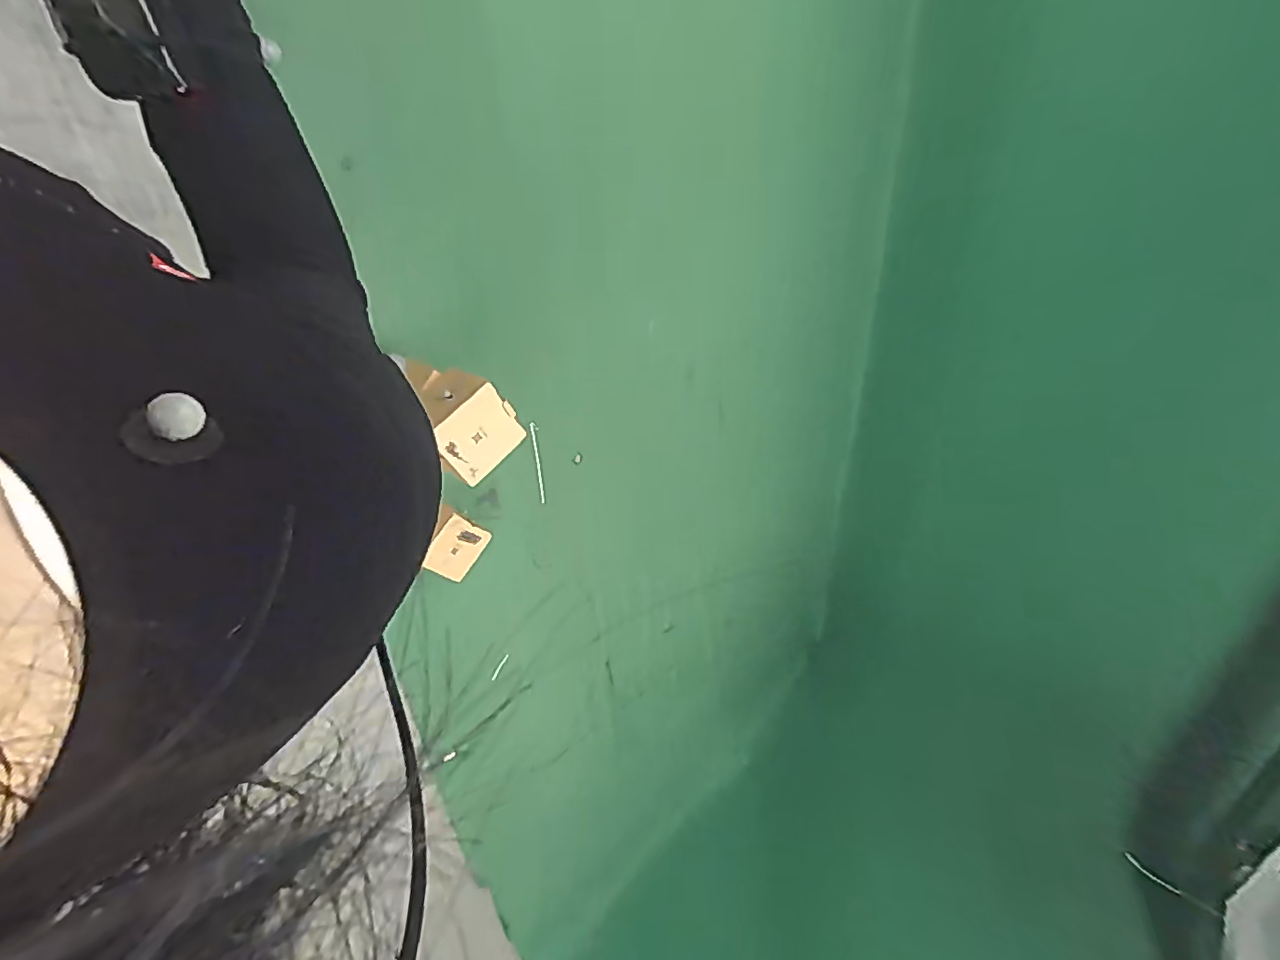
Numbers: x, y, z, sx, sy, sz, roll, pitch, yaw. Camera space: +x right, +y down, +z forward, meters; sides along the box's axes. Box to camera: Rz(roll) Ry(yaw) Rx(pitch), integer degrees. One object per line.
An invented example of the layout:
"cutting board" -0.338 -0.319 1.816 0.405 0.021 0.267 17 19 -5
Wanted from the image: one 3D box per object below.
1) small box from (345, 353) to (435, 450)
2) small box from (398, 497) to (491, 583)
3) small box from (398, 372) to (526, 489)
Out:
"small box" -0.635 -0.206 1.404 0.168 0.176 0.179 34 82 -49
"small box" -0.593 0.175 1.632 0.179 0.176 0.168 -56 139 -9
"small box" -0.395 -0.116 1.197 0.179 0.176 0.168 -48 136 -19
